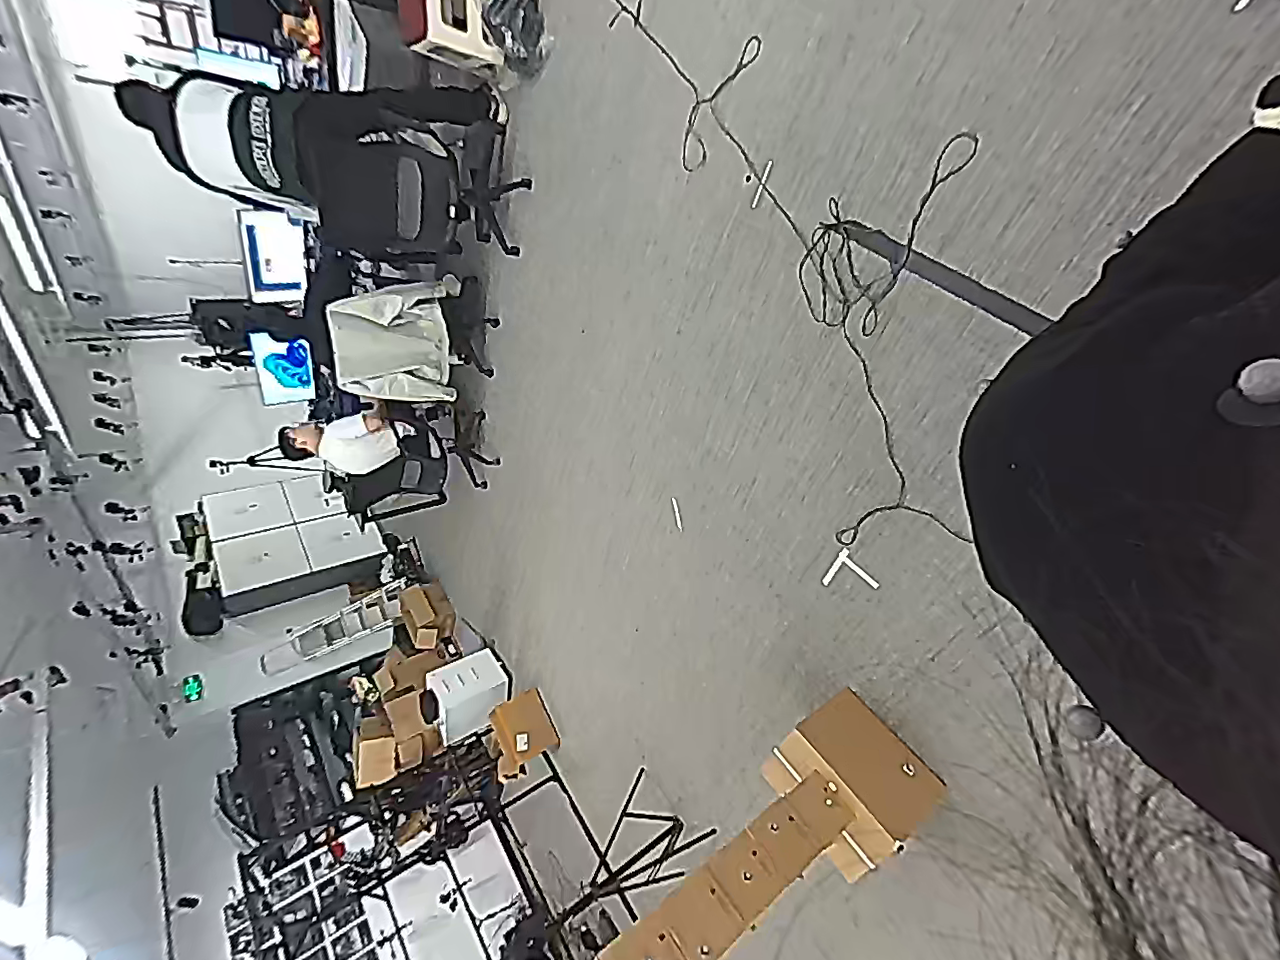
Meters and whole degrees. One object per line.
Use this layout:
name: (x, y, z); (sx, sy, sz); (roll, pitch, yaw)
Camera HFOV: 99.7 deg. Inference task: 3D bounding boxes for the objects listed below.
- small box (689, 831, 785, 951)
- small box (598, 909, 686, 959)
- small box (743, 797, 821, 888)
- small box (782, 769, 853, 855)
small box: (0.263, 1.097, 1.457); (0.168, 0.176, 0.179); (42, 132, 38)
small box: (0.009, 1.162, 1.260); (0.168, 0.176, 0.179); (38, 129, 40)
small box: (0.390, 1.057, 1.555); (0.168, 0.176, 0.179); (45, 135, 35)
small box: (0.516, 1.029, 1.652); (0.168, 0.176, 0.179); (45, 134, 33)
